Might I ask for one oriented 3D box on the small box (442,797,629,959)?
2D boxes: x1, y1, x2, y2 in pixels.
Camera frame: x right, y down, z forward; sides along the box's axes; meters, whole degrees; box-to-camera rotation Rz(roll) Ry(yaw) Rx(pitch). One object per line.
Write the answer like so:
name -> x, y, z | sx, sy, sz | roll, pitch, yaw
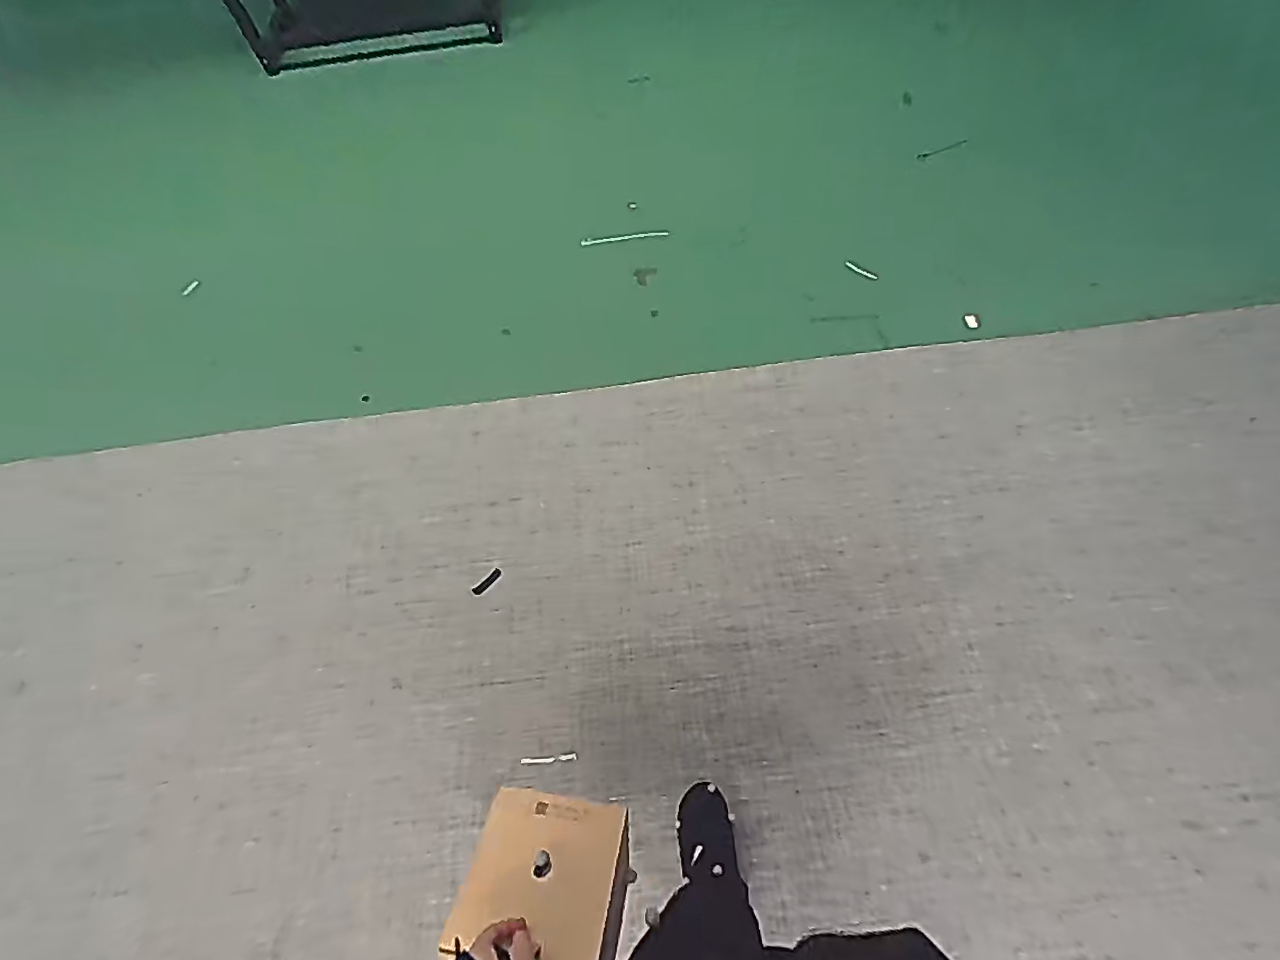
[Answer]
small box -> -0.109, 0.511, 0.642 | 0.168, 0.179, 0.176 | 5, 32, 8
